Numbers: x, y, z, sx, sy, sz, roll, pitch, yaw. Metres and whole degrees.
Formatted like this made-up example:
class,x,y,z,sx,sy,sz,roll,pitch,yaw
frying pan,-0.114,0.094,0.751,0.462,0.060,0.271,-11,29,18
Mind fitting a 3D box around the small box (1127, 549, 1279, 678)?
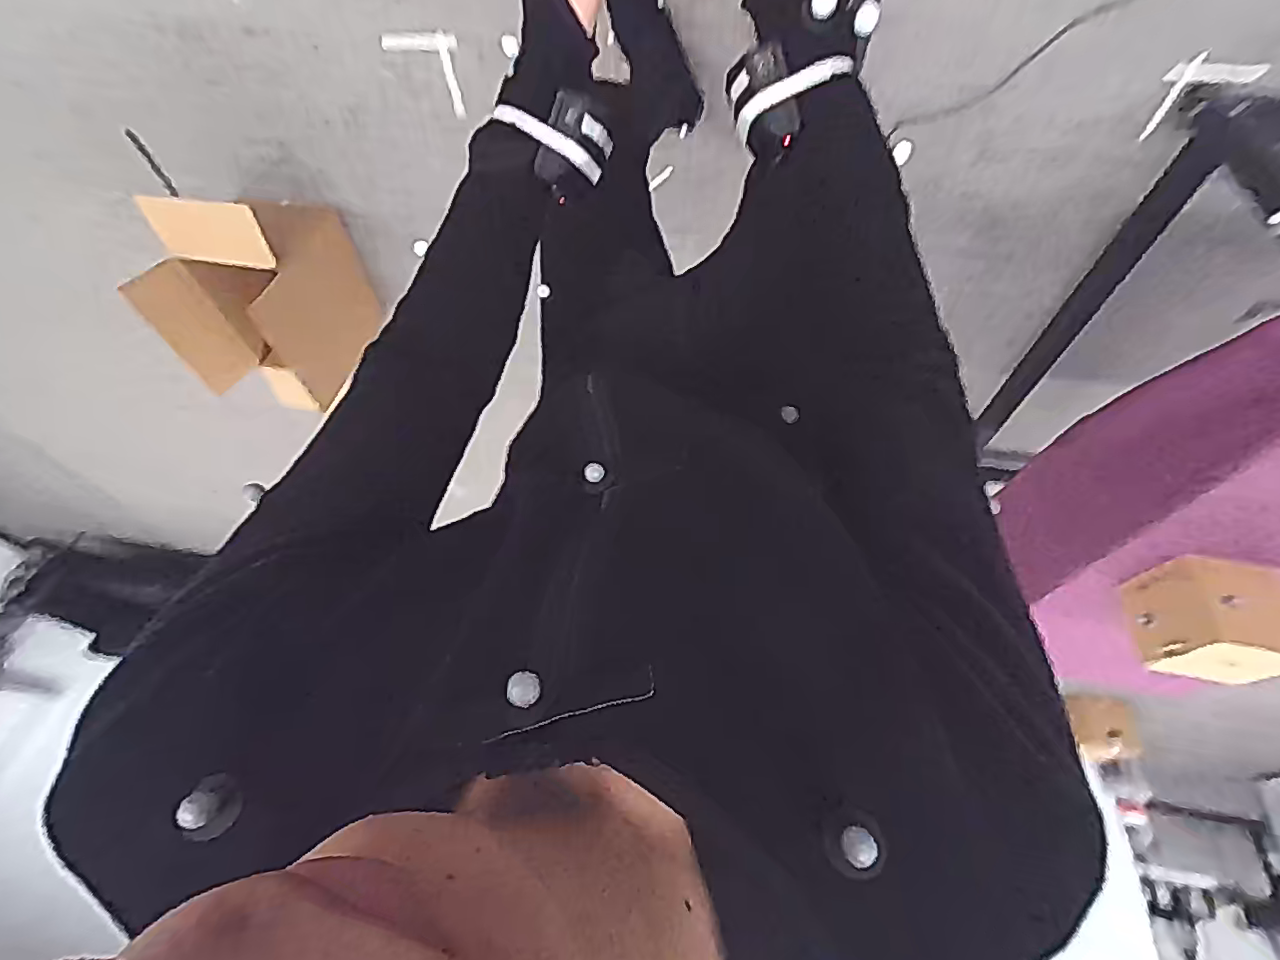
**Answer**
class,x,y,z,sx,sy,sz,roll,pitch,yaw
small box,1.055,0.242,0.986,0.179,0.176,0.168,9,148,3
